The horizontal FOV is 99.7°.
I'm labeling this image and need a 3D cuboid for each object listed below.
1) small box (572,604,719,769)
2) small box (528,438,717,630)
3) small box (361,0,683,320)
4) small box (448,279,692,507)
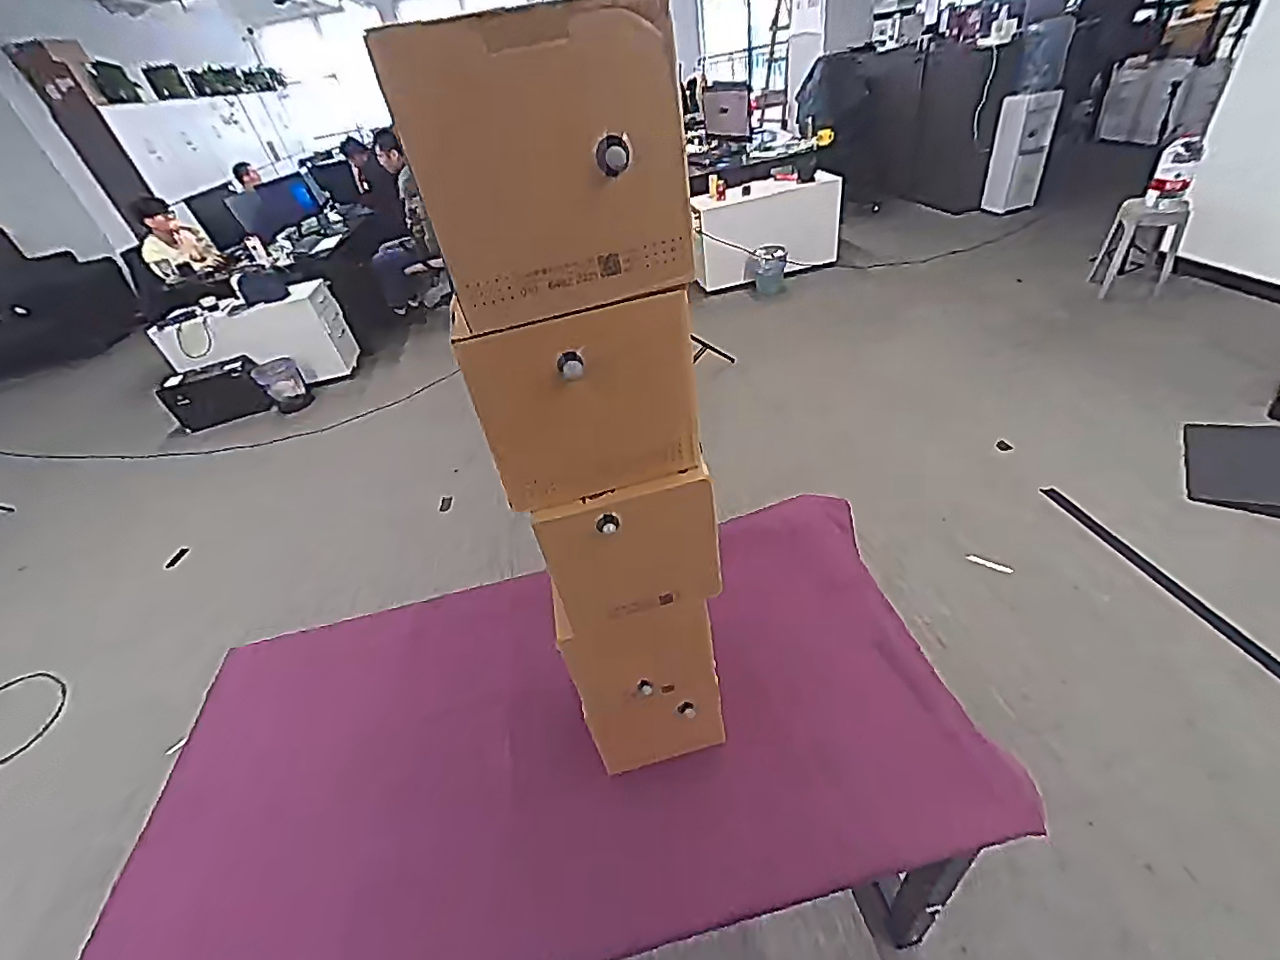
[{"bbox_3d":[0.011,0.286,0.788,0.179,0.176,0.168,-15,38,-4],"label":"small box"},{"bbox_3d":[-0.022,0.029,0.587,0.168,0.176,0.179,-15,38,-4],"label":"small box"},{"bbox_3d":[-0.074,-0.231,0.398,0.168,0.176,0.179,-15,38,-6],"label":"small box"},{"bbox_3d":[-0.056,-0.102,0.495,0.179,0.176,0.168,-15,39,-5],"label":"small box"}]
